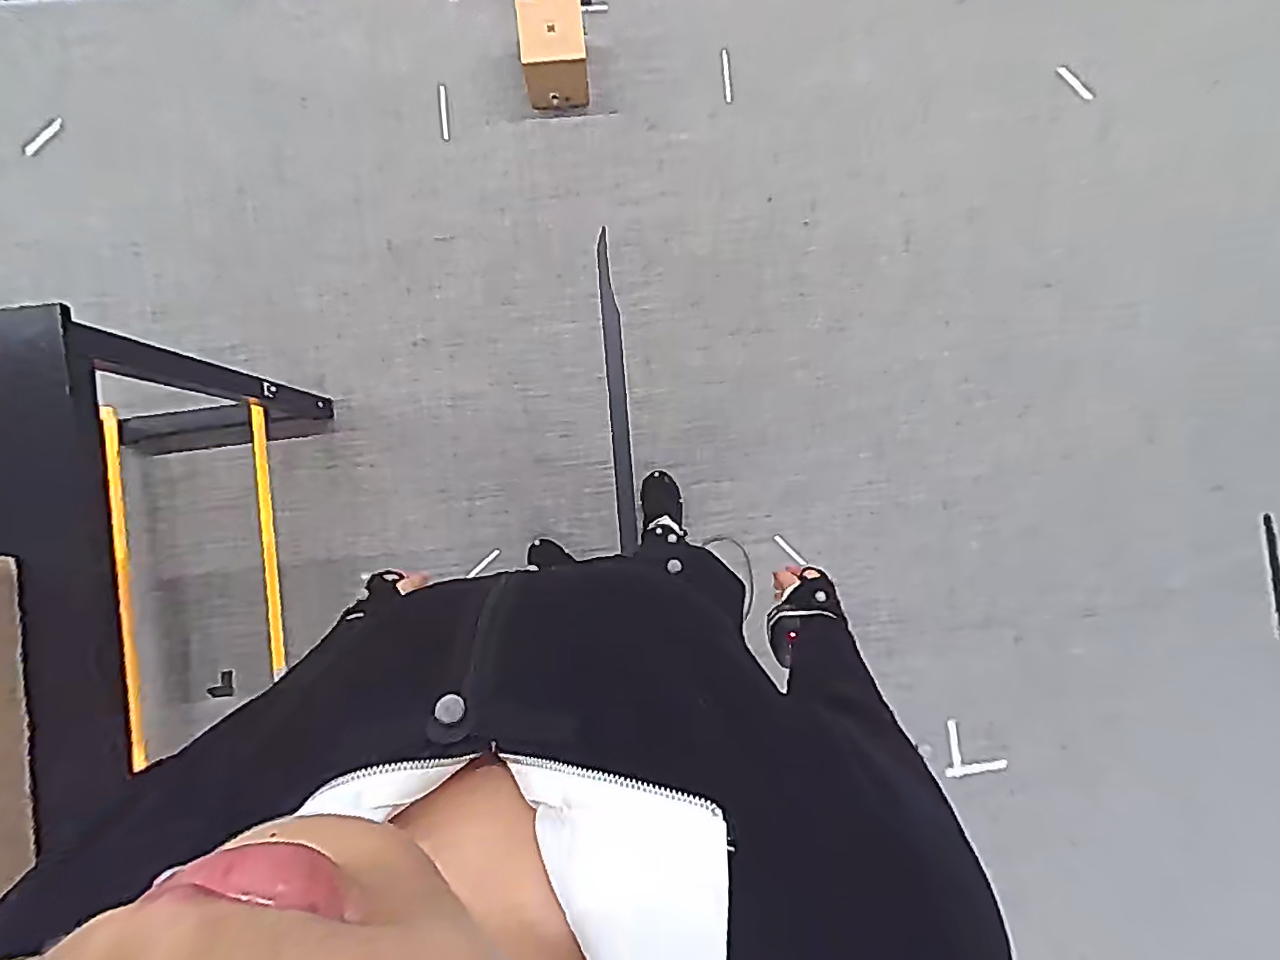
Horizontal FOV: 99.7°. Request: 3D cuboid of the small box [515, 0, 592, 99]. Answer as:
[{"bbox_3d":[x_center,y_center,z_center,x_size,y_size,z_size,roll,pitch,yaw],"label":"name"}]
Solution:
[{"bbox_3d":[-0.213,-1.102,1.350,0.168,0.176,0.179,-7,90,-1],"label":"small box"}]
